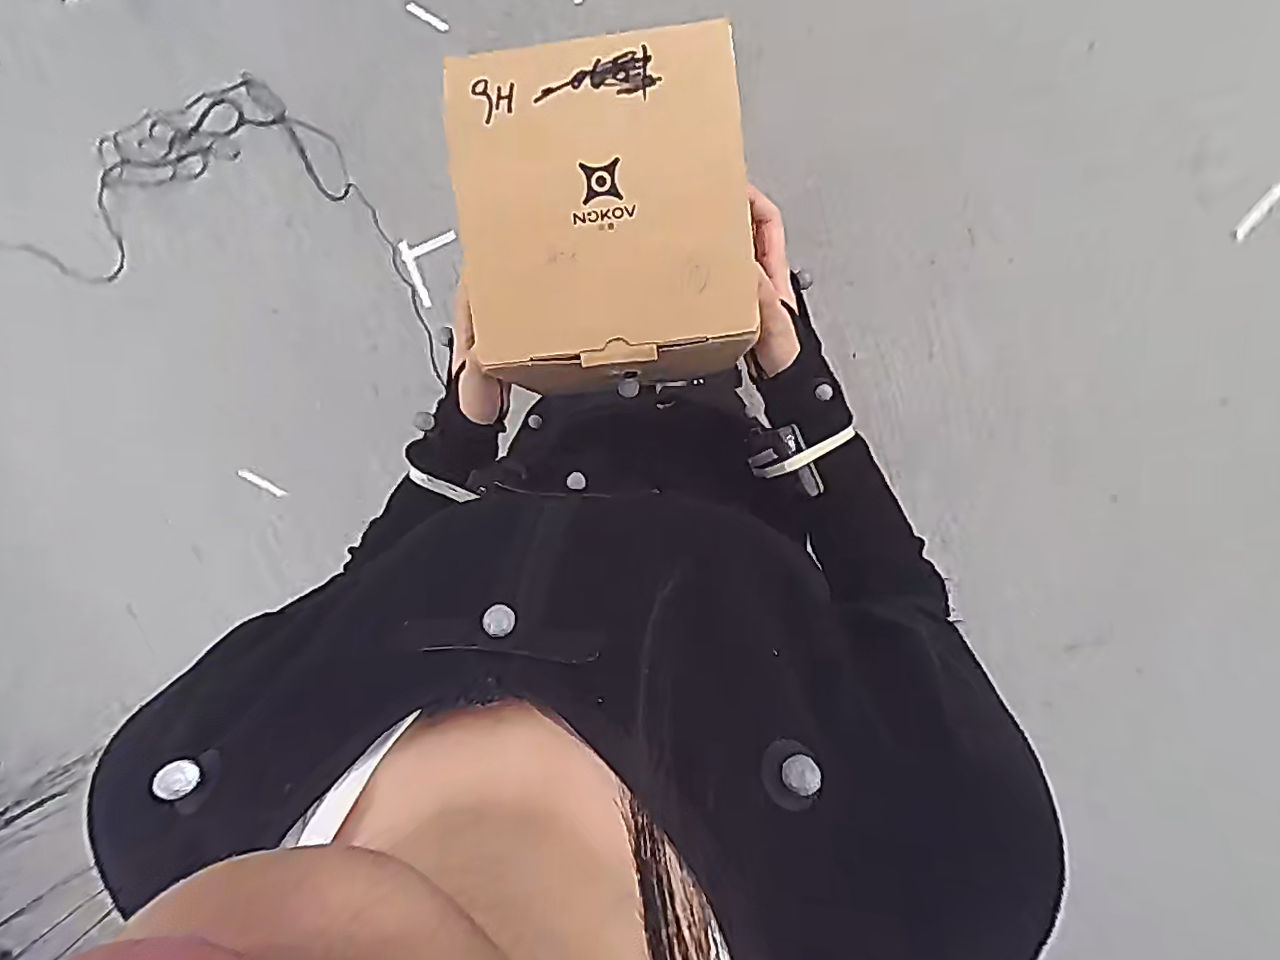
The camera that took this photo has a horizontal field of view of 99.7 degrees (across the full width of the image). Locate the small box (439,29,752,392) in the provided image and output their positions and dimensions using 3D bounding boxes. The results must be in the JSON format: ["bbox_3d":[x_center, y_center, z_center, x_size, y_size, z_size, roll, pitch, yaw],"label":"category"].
[{"bbox_3d":[-0.020,-0.159,0.385,0.168,0.176,0.179,-7,94,2],"label":"small box"}]
